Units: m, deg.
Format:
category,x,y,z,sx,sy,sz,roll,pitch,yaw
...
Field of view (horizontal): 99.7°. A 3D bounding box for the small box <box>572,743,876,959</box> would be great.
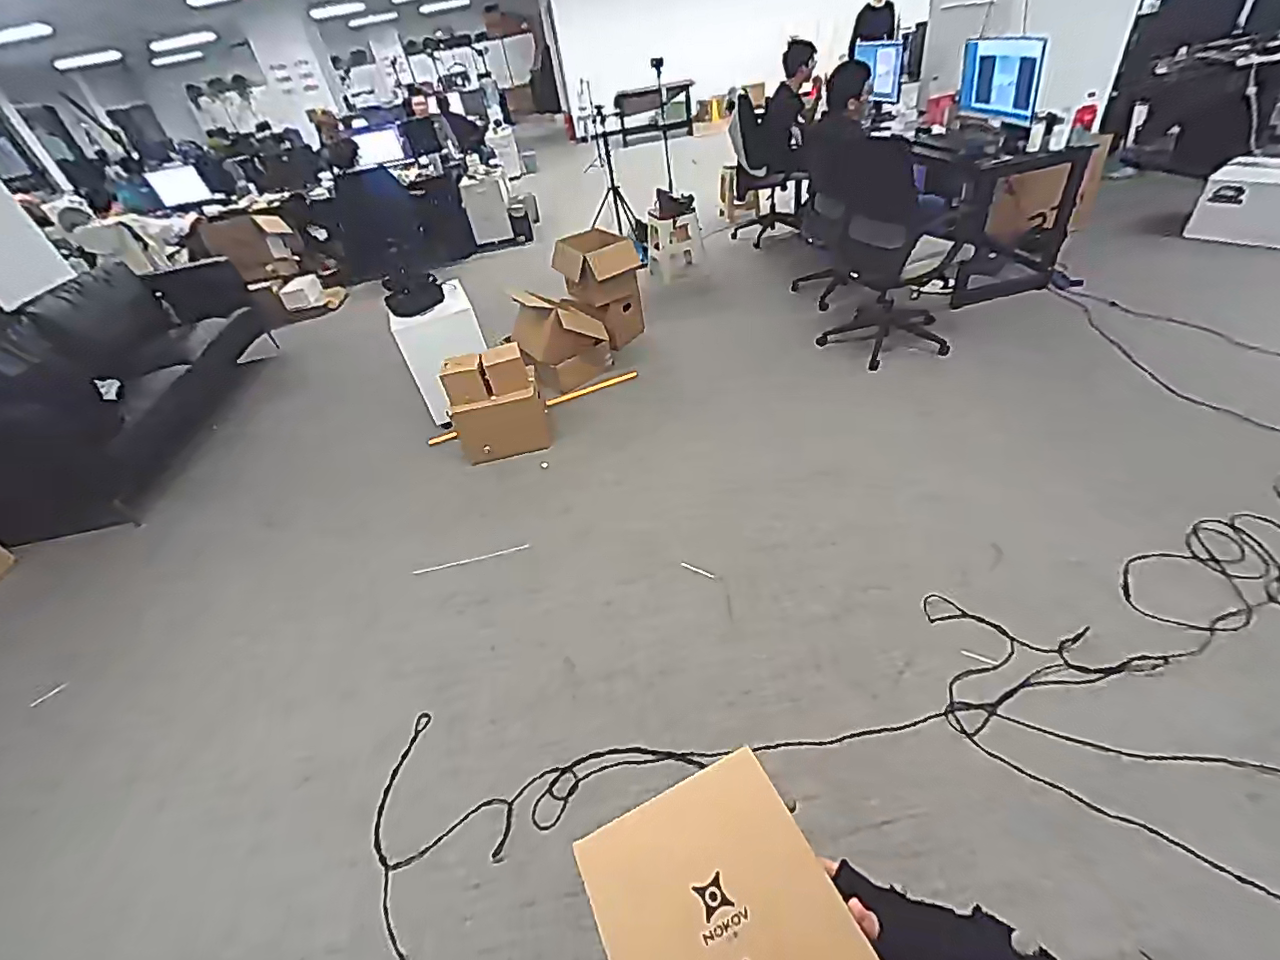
category,x,y,z,sx,sy,sz,roll,pitch,yaw
small box,0.062,0.359,0.437,0.168,0.176,0.179,-23,44,-13
